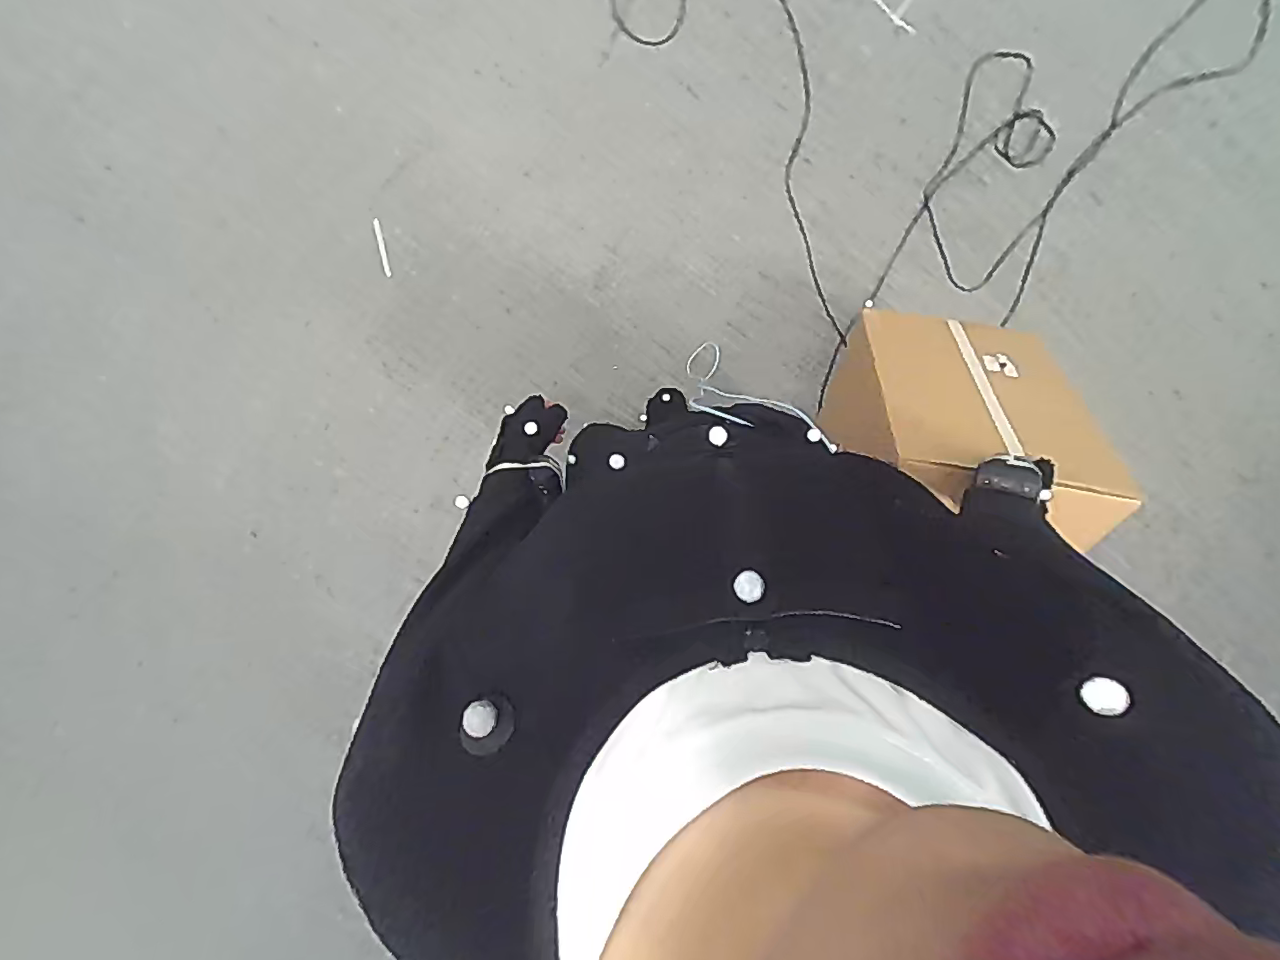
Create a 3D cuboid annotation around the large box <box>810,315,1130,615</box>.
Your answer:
[{"bbox_3d":[0.504,-0.032,0.946,0.320,0.408,0.320,11,136,2],"label":"large box"}]
